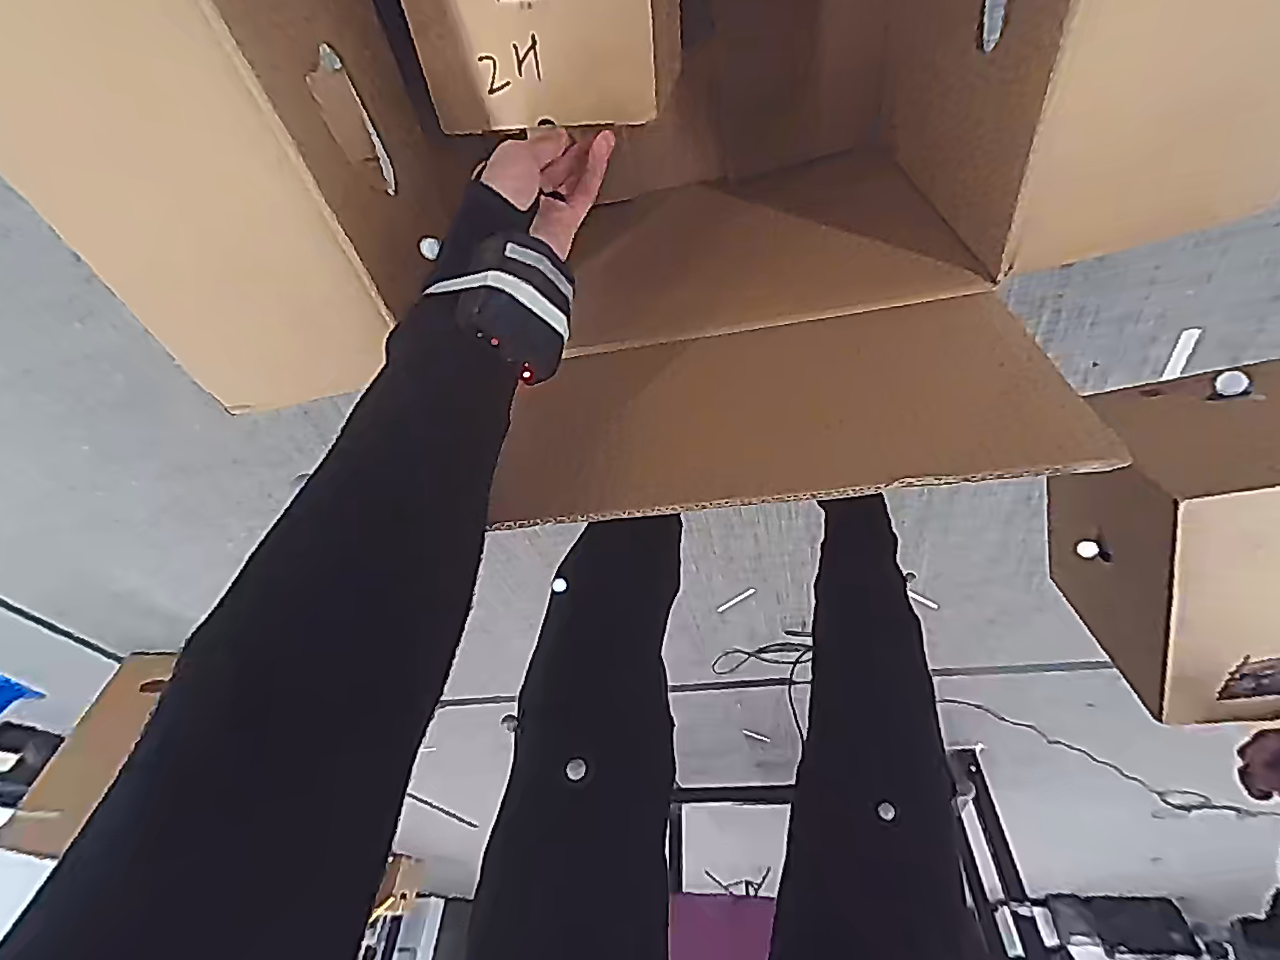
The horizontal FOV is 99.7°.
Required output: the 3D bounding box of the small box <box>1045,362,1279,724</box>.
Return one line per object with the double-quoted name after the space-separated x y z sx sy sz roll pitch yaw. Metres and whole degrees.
0.407 0.036 0.369 0.168 0.176 0.179 -11 113 19 "small box"
